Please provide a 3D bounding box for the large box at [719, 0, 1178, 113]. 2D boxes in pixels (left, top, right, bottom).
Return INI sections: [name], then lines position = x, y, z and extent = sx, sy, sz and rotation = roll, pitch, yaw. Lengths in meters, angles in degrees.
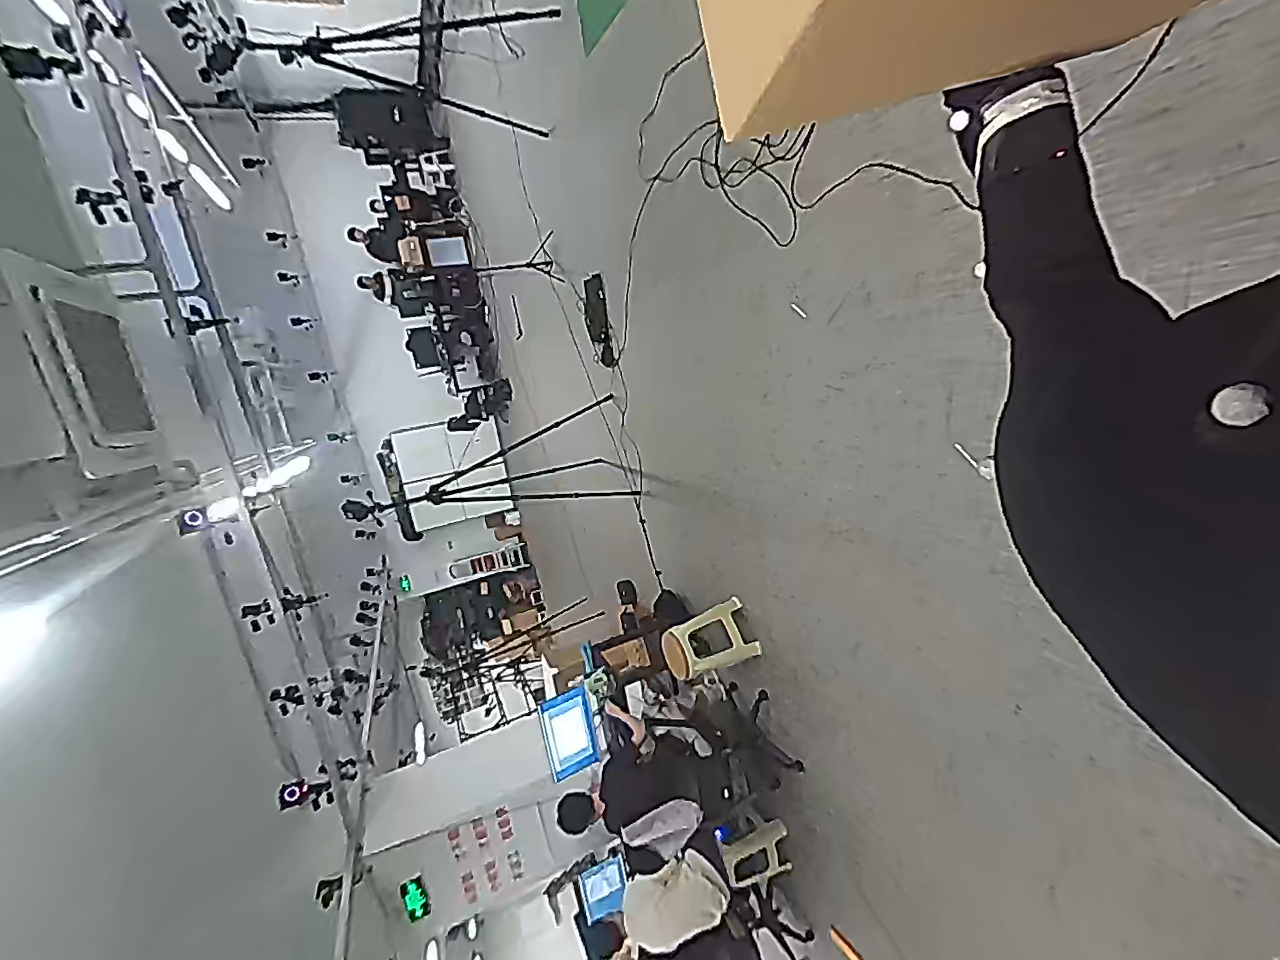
[large box]
position = 0.203, -0.400, 0.190
extent = 0.408, 0.320, 0.320
rotation = -96, -6, -72
